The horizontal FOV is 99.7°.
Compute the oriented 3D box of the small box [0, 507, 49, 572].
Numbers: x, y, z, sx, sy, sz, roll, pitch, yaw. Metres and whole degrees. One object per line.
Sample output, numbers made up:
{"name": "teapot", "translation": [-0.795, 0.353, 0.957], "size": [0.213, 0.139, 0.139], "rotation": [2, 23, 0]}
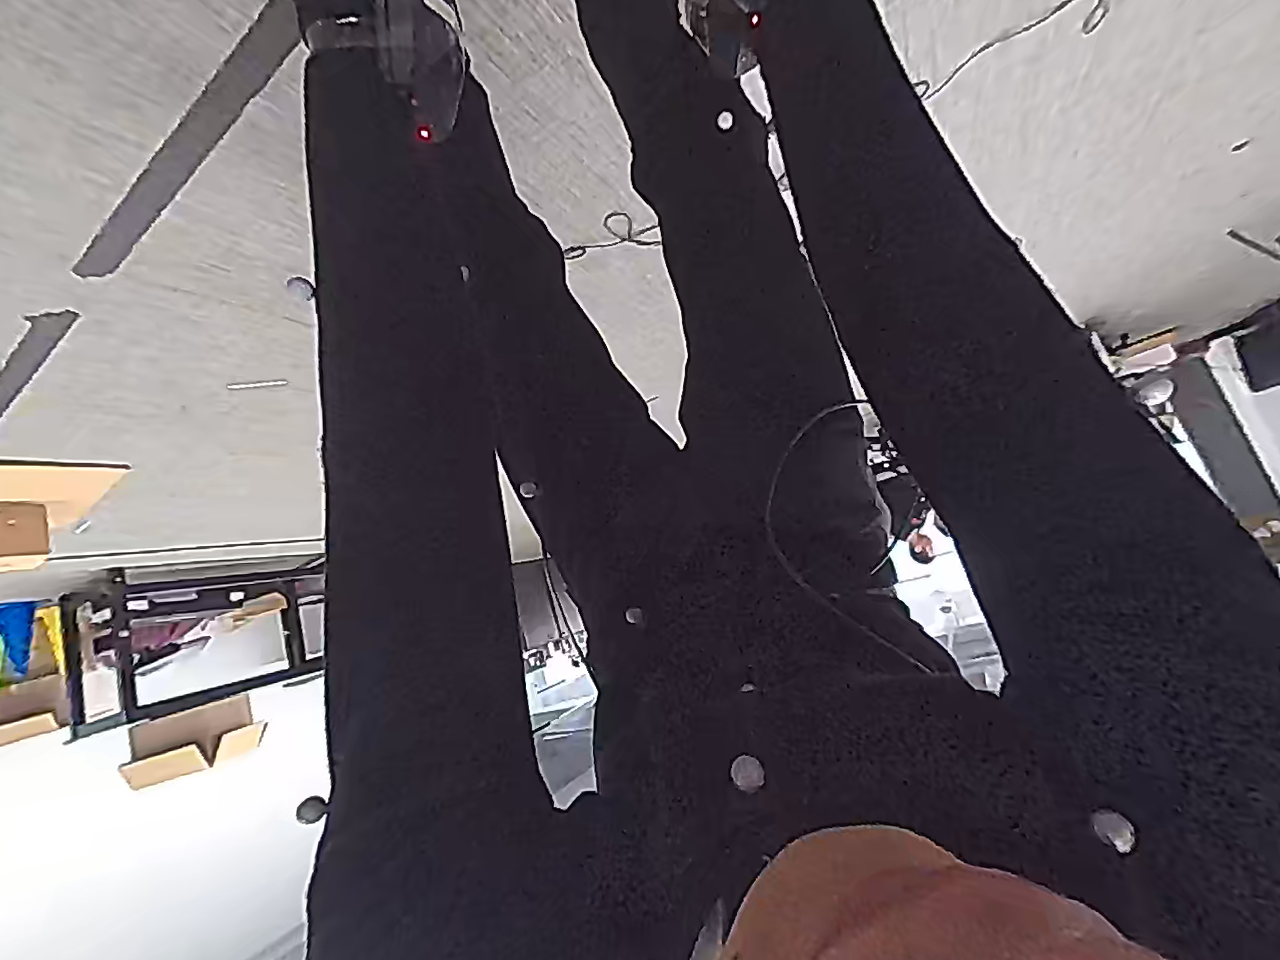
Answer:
{"name": "small box", "translation": [-2.011, 0.188, 1.703], "size": [0.179, 0.176, 0.168], "rotation": [-23, 168, 28]}
